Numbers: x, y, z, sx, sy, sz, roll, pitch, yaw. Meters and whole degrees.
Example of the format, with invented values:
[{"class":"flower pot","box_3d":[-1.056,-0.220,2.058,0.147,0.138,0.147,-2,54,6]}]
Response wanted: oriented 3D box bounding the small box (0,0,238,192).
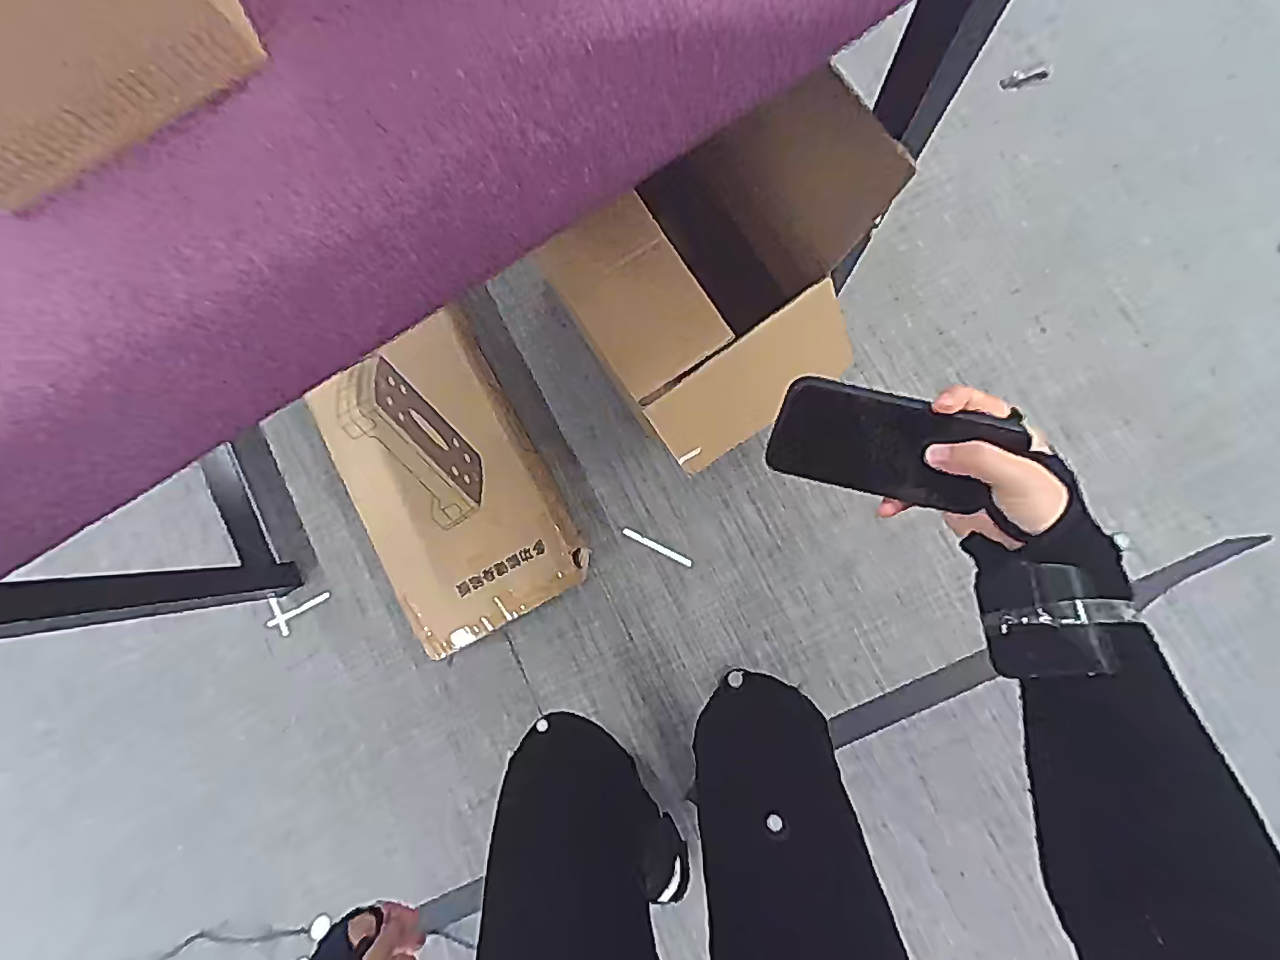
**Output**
[{"class":"small box","box_3d":[-0.324,-0.277,0.236,0.179,0.176,0.168,-29,80,2]}]
